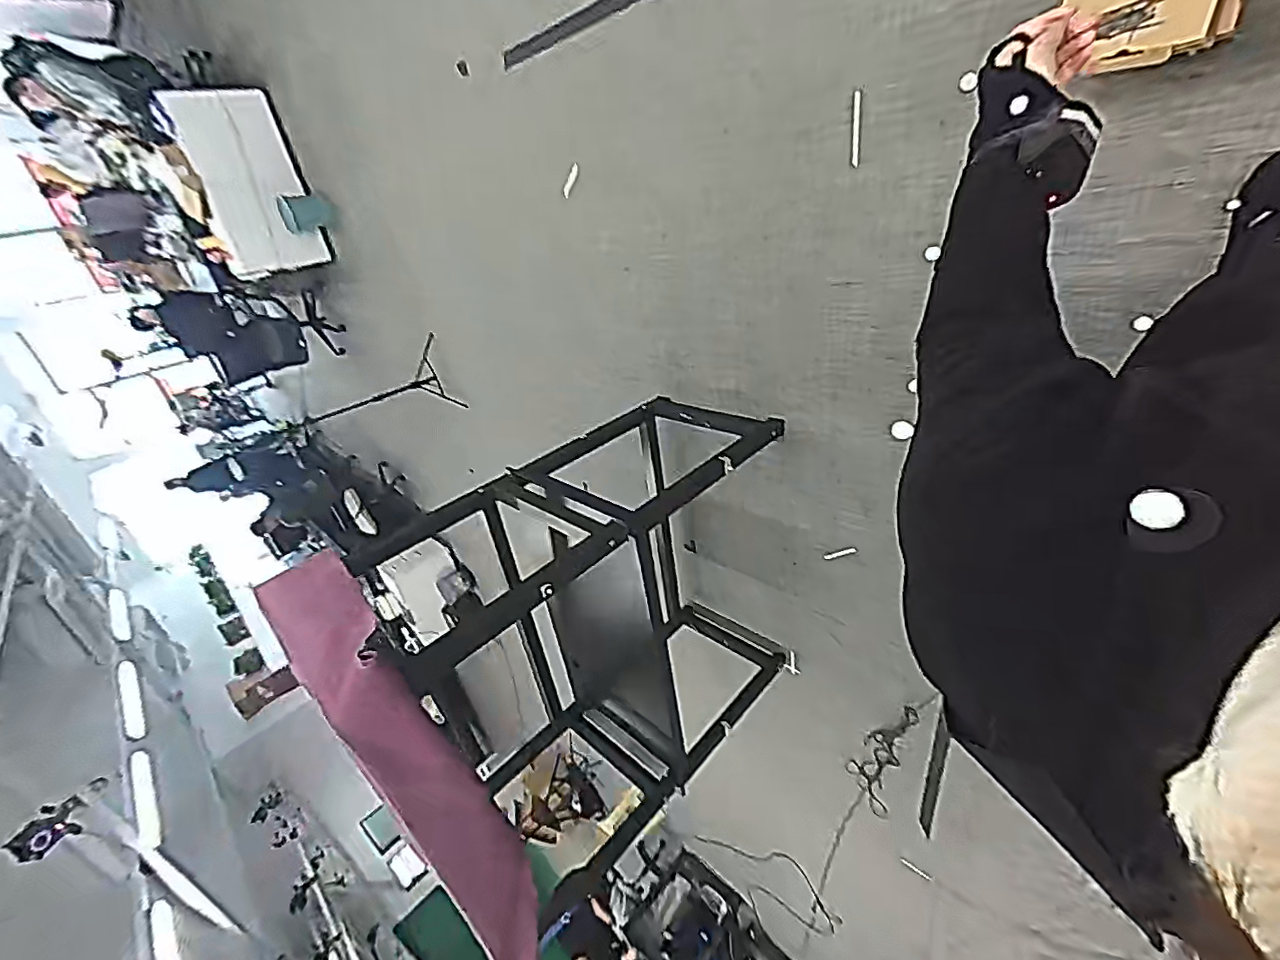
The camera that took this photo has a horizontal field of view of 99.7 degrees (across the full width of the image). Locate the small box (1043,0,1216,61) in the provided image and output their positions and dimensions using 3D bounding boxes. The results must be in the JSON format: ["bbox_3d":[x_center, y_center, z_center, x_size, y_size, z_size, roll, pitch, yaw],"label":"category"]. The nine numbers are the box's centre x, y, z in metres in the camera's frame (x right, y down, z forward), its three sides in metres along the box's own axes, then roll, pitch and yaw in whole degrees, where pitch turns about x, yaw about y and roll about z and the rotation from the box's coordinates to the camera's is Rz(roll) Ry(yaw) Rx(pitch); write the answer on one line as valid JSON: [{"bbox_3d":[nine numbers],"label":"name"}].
[{"bbox_3d":[0.685,-0.695,0.735,0.168,0.176,0.179,20,130,39],"label":"small box"}]

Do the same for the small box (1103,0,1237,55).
[{"bbox_3d":[0.802,-0.769,0.822,0.179,0.176,0.168,17,129,42],"label":"small box"}]
